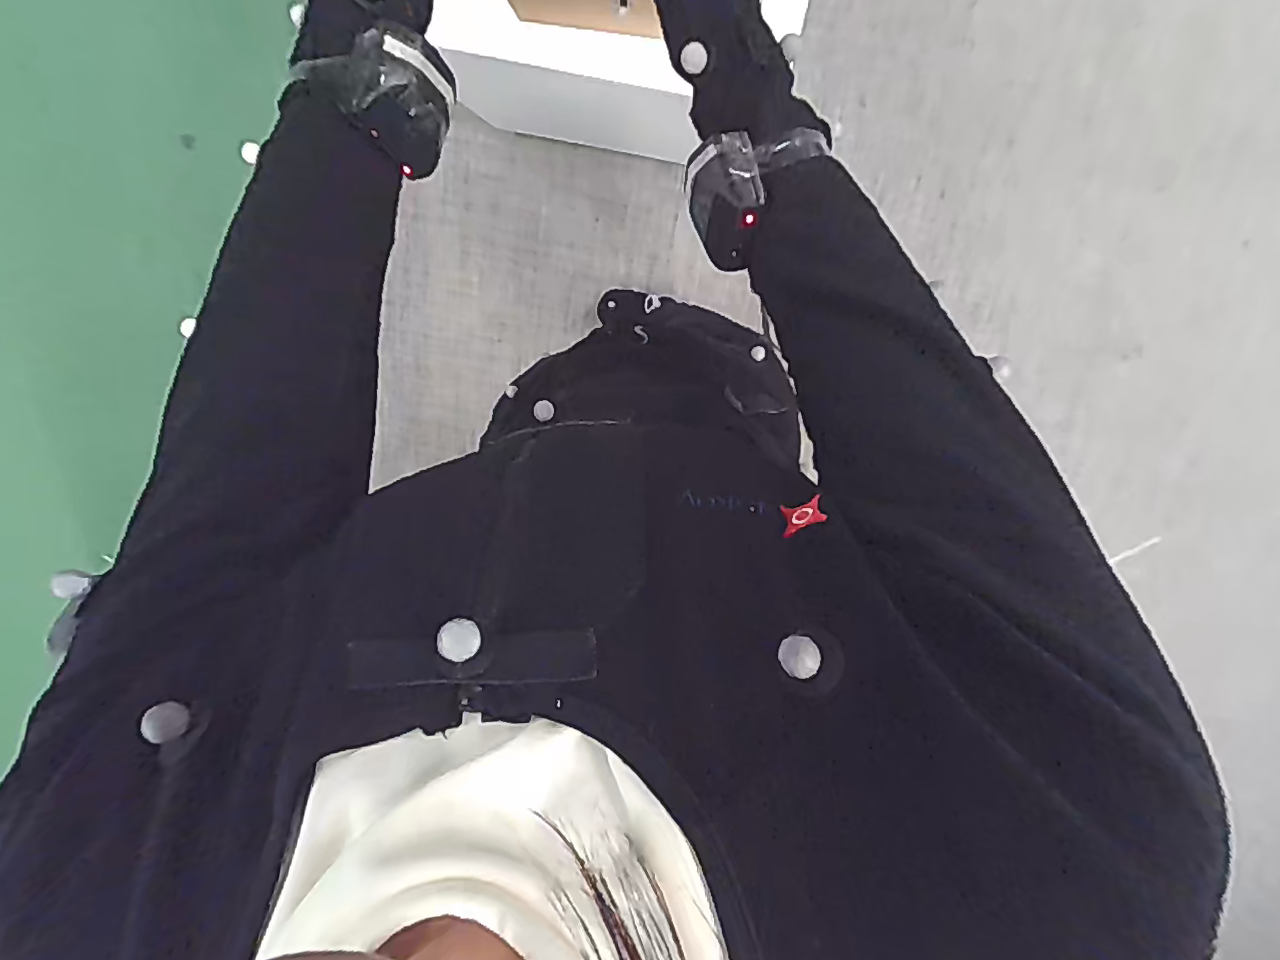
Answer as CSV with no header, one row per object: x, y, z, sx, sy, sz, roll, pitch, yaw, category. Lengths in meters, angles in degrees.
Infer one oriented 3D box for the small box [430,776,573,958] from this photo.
-0.212,0.610,0.866,0.179,0.176,0.168,13,113,-2,small box

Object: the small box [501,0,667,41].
-0.053,-0.556,0.519,0.179,0.176,0.168,8,111,2,small box
